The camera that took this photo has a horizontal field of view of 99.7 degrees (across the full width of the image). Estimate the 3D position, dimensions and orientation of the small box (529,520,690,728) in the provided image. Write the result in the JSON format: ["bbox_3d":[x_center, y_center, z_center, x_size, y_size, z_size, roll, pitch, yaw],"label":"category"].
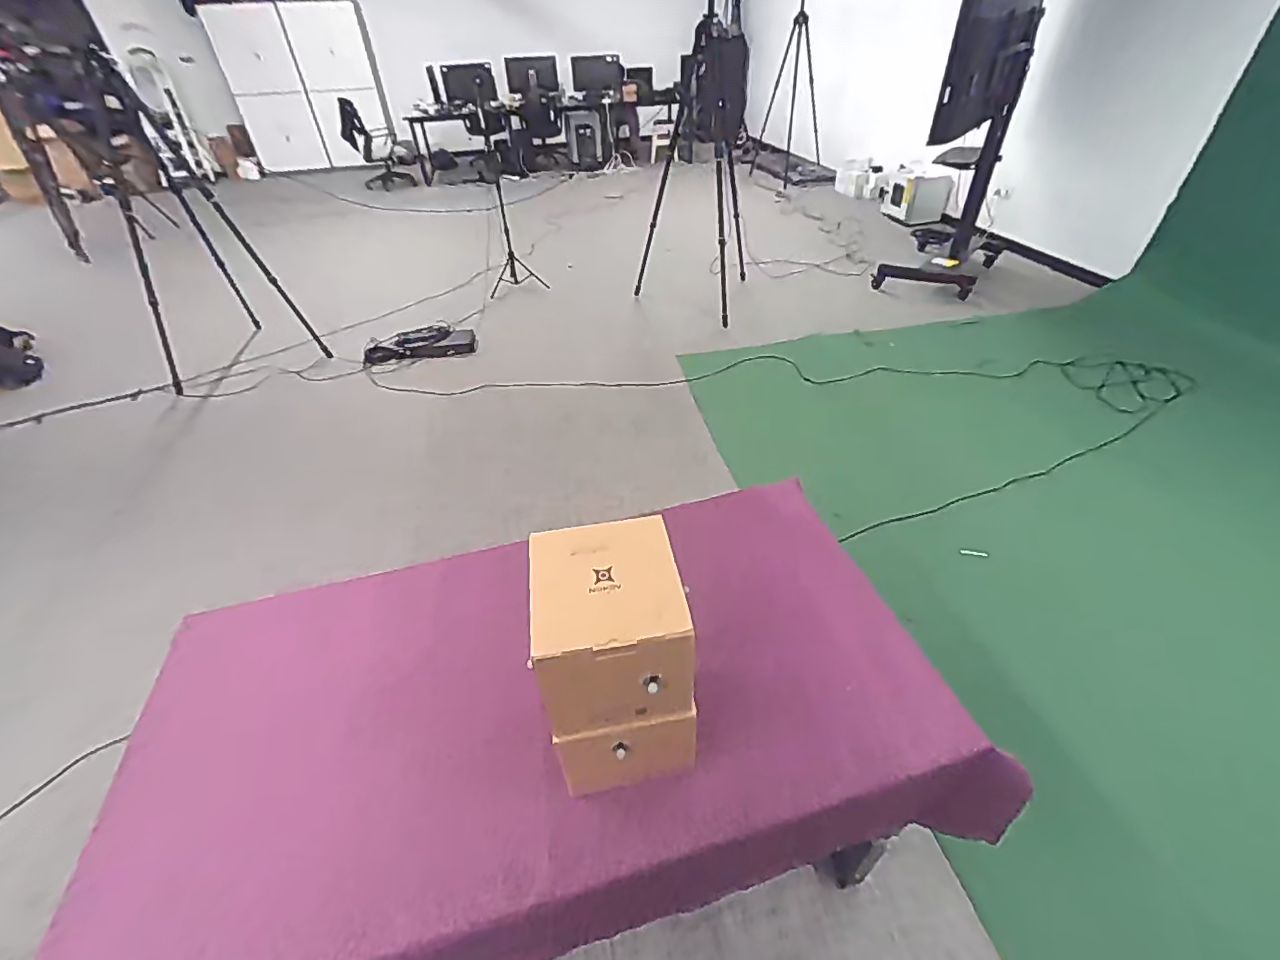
[{"bbox_3d":[-0.035,0.176,0.650,0.168,0.176,0.179,-8,39,-5],"label":"small box"}]

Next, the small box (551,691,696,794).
[{"bbox_3d":[-0.024,0.307,0.748,0.179,0.176,0.168,-9,41,-5],"label":"small box"}]
